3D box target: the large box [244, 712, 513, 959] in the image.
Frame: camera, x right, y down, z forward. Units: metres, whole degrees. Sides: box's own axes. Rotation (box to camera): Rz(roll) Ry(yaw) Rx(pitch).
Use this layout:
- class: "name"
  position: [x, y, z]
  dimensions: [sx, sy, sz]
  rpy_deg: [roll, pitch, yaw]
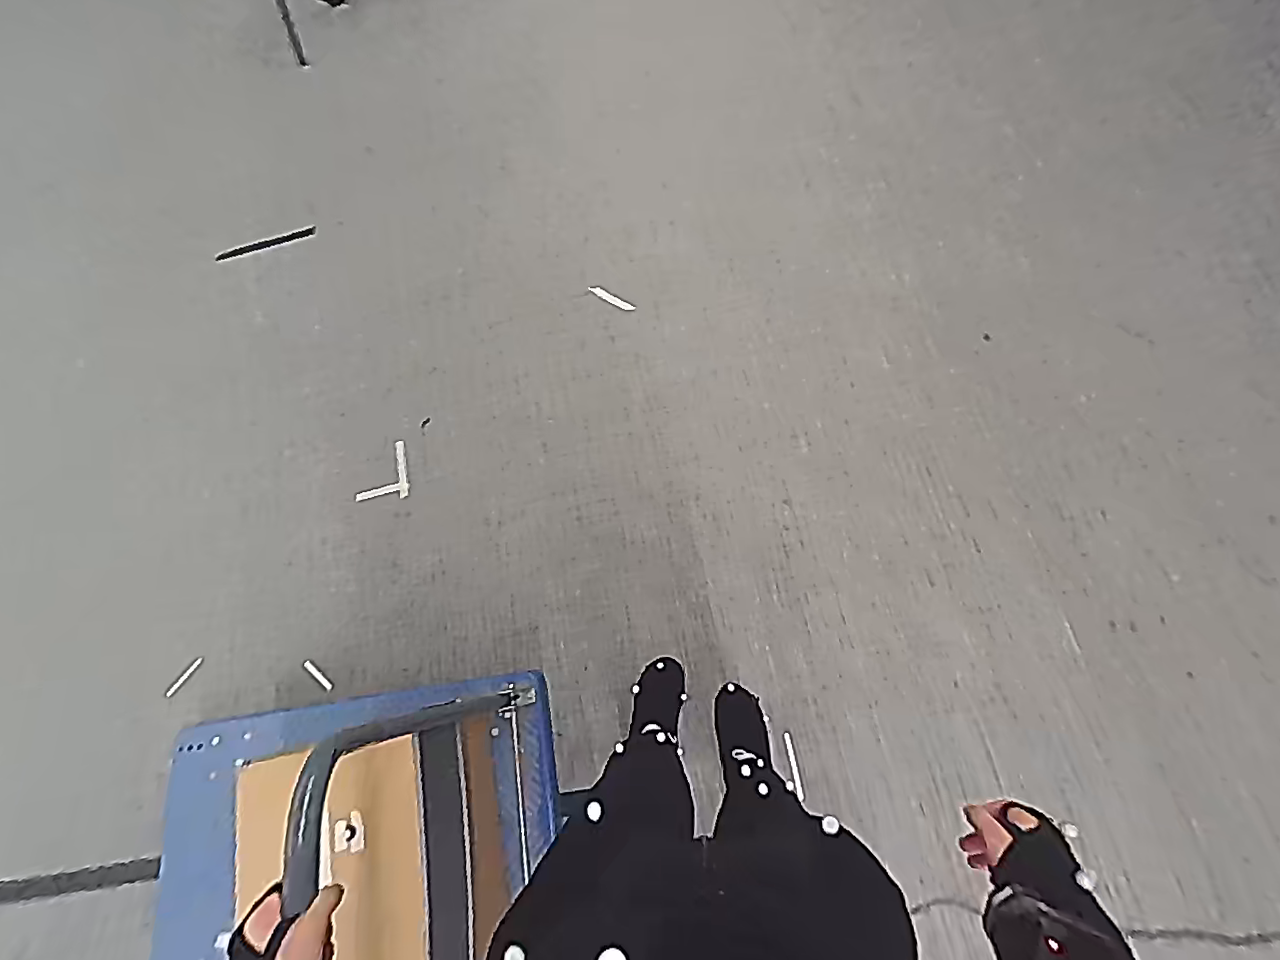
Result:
- class: "large box"
  position: [-0.452, 0.676, 0.977]
  dimensions: [0.320, 0.320, 0.408]
  rpy_deg: [-14, 71, 2]
